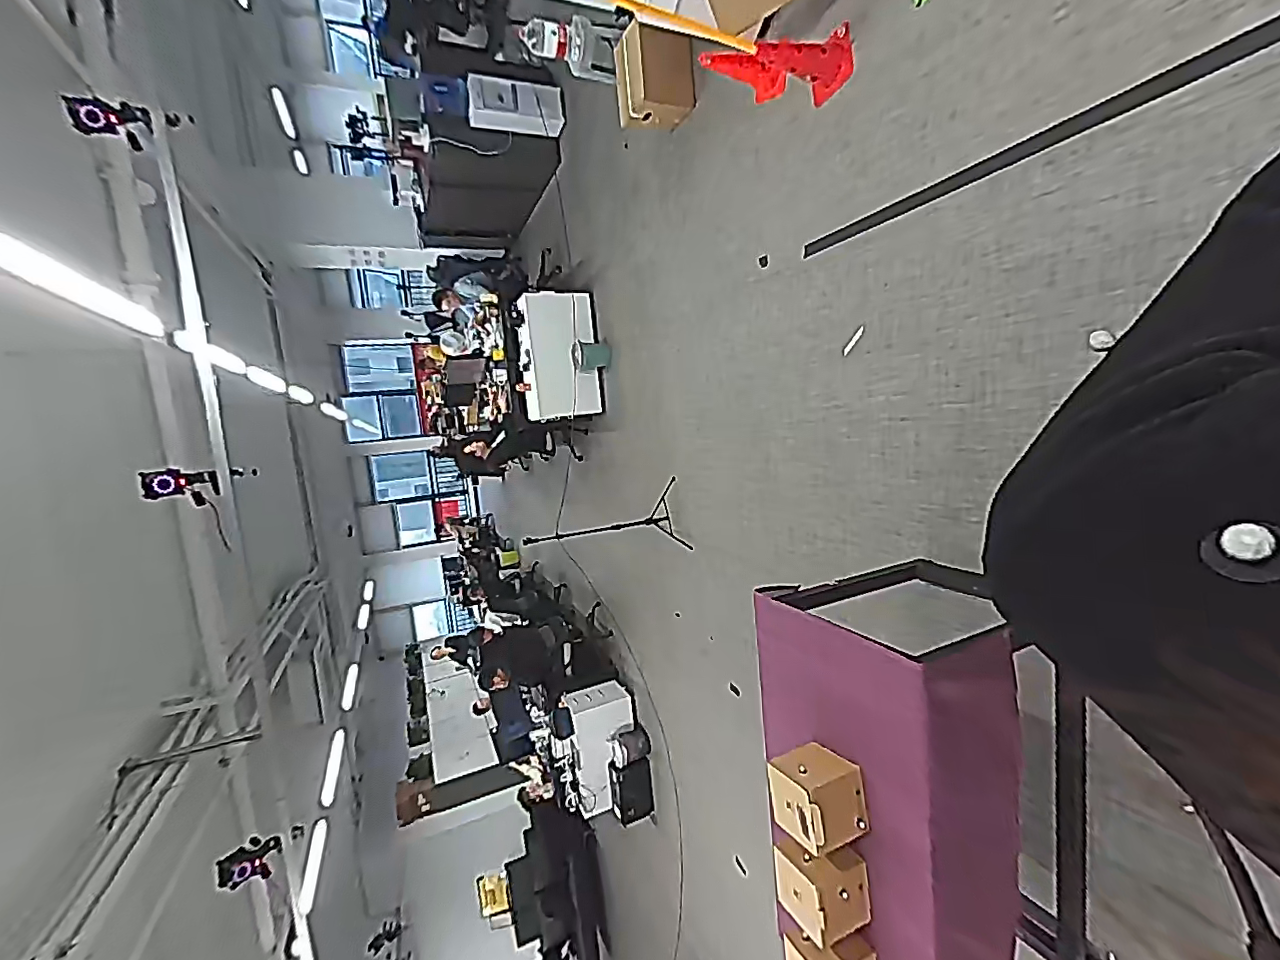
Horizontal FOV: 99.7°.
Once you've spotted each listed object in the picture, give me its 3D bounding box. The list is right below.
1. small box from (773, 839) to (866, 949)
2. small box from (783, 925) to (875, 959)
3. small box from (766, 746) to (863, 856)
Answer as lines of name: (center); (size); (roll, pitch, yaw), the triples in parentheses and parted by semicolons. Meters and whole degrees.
small box: (0.482, 1.074, 1.444); (0.179, 0.176, 0.168); (-177, 80, -67)
small box: (0.511, 1.322, 1.452); (0.179, 0.176, 0.168); (180, 82, -66)
small box: (0.458, 0.824, 1.411); (0.179, 0.176, 0.168); (169, 93, -67)
